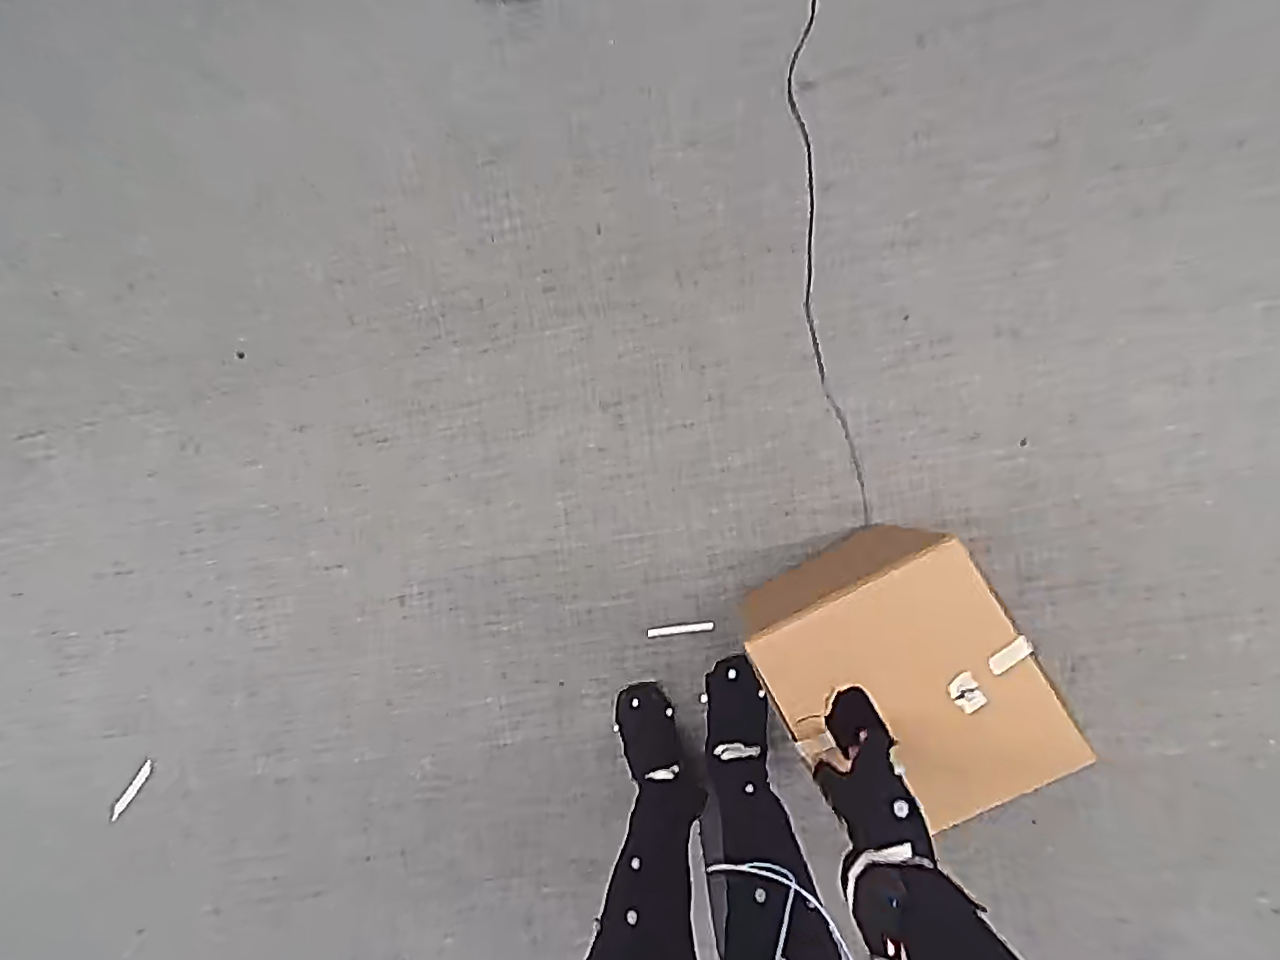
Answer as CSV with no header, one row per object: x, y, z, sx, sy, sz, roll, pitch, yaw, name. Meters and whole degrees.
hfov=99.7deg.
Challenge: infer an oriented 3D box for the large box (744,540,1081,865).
0.382,0.307,0.887,0.320,0.408,0.320,-29,82,8,large box
